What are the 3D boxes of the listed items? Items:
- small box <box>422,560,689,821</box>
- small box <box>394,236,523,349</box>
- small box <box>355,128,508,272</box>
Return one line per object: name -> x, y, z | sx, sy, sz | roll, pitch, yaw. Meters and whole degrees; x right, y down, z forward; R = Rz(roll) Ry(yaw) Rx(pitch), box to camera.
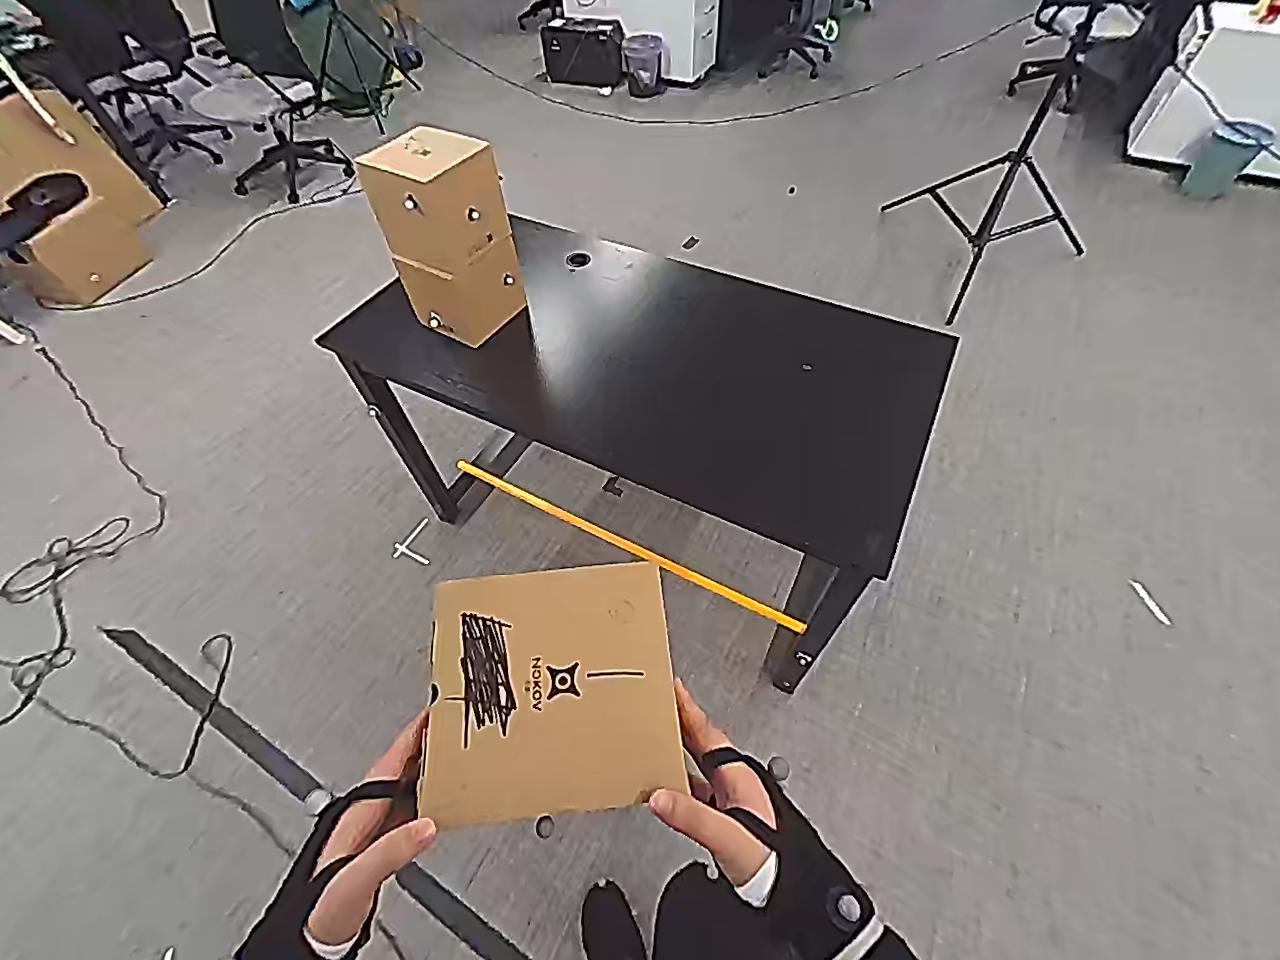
small box -> -0.061, 0.180, 0.455 | 0.179, 0.176, 0.168 | -5, 62, -4
small box -> -0.363, -0.407, 1.125 | 0.168, 0.176, 0.179 | 25, 60, 20
small box -> -0.370, -0.510, 0.996 | 0.179, 0.176, 0.168 | 25, 58, 20
